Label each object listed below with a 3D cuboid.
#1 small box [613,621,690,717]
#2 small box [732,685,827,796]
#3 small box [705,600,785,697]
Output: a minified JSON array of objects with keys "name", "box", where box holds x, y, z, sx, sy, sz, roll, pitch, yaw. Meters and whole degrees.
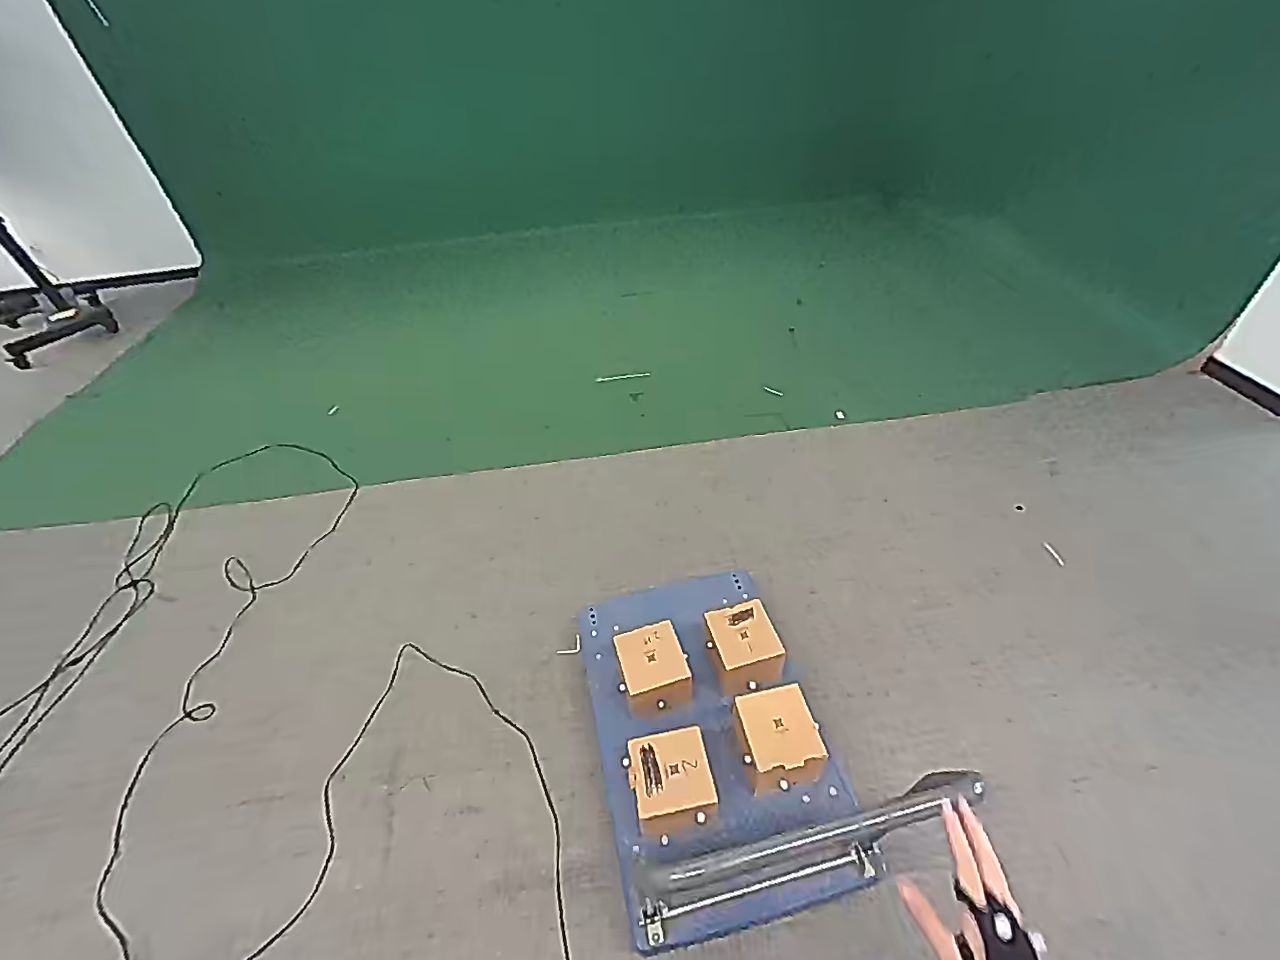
[{"name":"small box","box":[0.033,0.517,1.463,0.168,0.176,0.179,-13,44,-10]},{"name":"small box","box":[0.329,0.634,1.317,0.168,0.176,0.179,-10,43,-5]},{"name":"small box","box":[0.281,0.466,1.493,0.168,0.176,0.179,-13,45,-7]}]
